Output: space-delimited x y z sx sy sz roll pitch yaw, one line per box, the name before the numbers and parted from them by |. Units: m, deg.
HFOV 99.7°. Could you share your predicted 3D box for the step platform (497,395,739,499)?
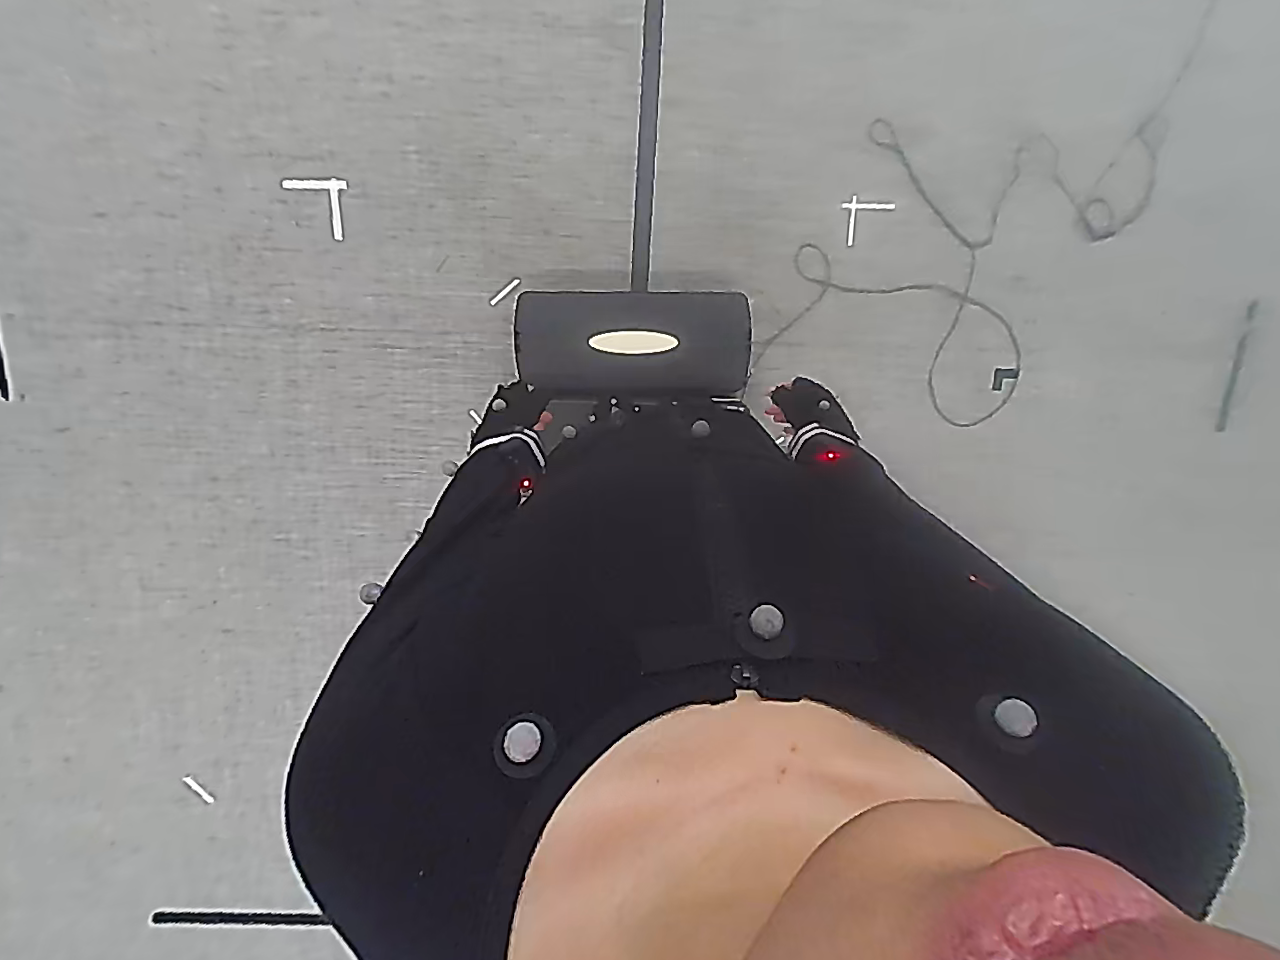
step platform | -0.060 -0.097 1.561 0.684 0.204 0.286 0 100 -1
